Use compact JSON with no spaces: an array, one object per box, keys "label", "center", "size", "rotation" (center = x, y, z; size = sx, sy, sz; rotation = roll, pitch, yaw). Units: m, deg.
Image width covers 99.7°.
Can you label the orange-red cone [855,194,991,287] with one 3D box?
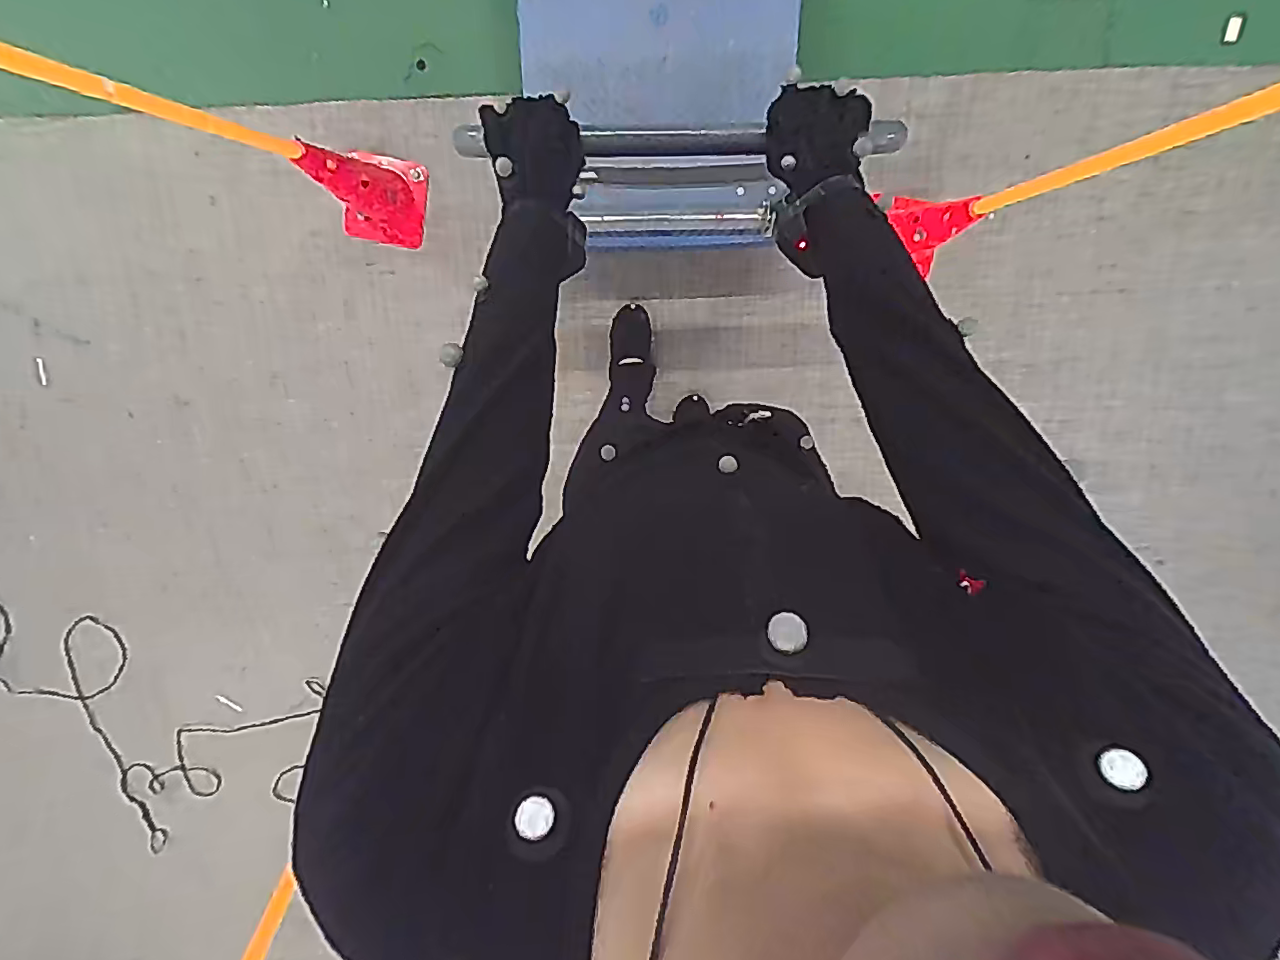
[{"label":"orange-red cone","center":[0.646,-0.555,1.183],"size":[0.198,0.360,0.199],"rotation":[9,104,-1]}]
